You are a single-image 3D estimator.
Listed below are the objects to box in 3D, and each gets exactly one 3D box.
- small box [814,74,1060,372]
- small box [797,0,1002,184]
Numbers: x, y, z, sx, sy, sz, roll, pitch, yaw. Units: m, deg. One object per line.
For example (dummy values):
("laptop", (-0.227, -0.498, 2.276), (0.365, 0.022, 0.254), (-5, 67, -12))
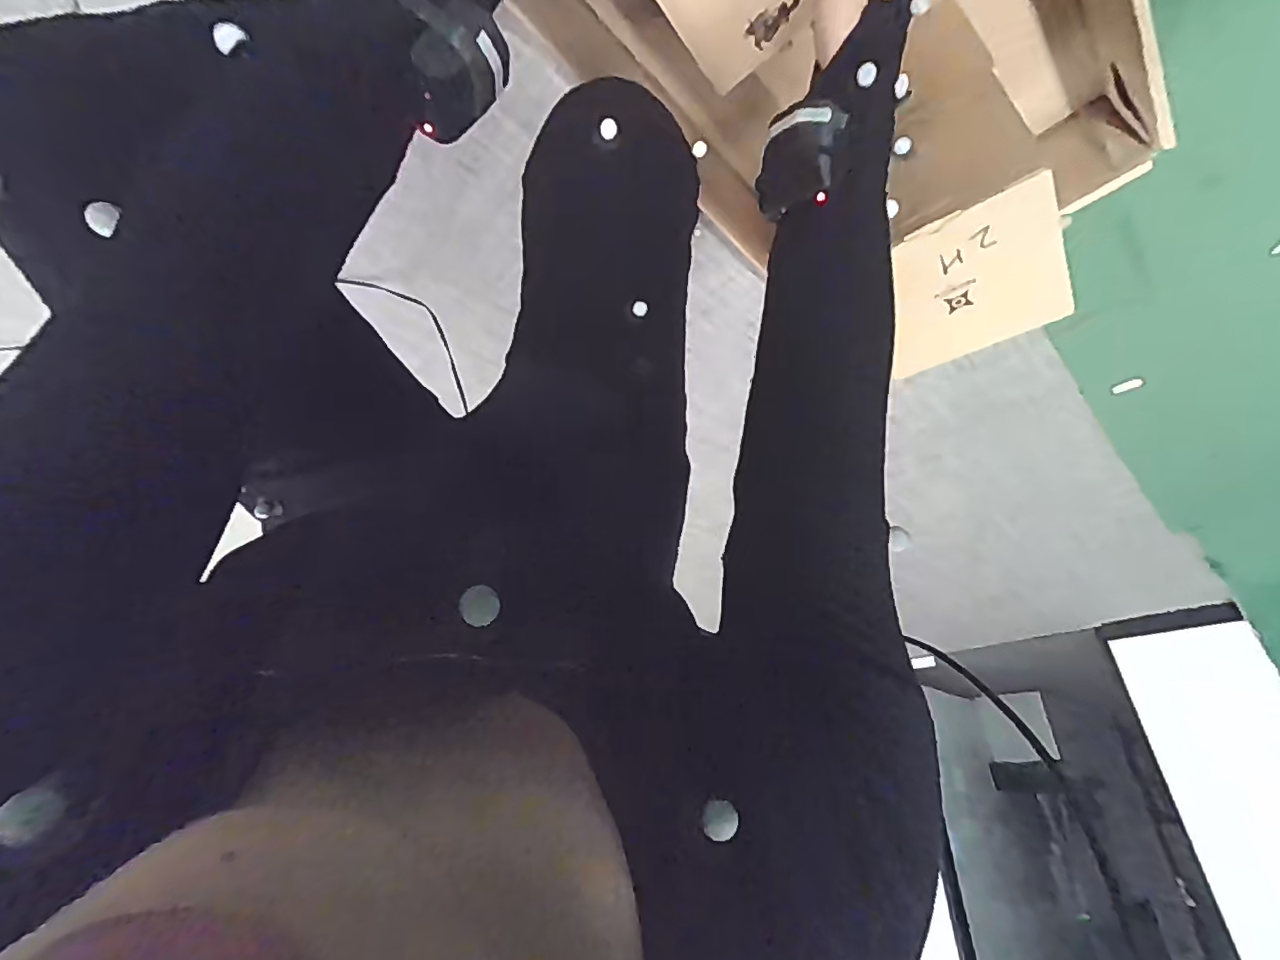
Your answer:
("small box", (0.293, -0.248, 0.547), (0.168, 0.176, 0.179), (-20, 142, 32))
("small box", (0.301, -0.390, 0.628), (0.179, 0.176, 0.168), (-20, 142, 34))
